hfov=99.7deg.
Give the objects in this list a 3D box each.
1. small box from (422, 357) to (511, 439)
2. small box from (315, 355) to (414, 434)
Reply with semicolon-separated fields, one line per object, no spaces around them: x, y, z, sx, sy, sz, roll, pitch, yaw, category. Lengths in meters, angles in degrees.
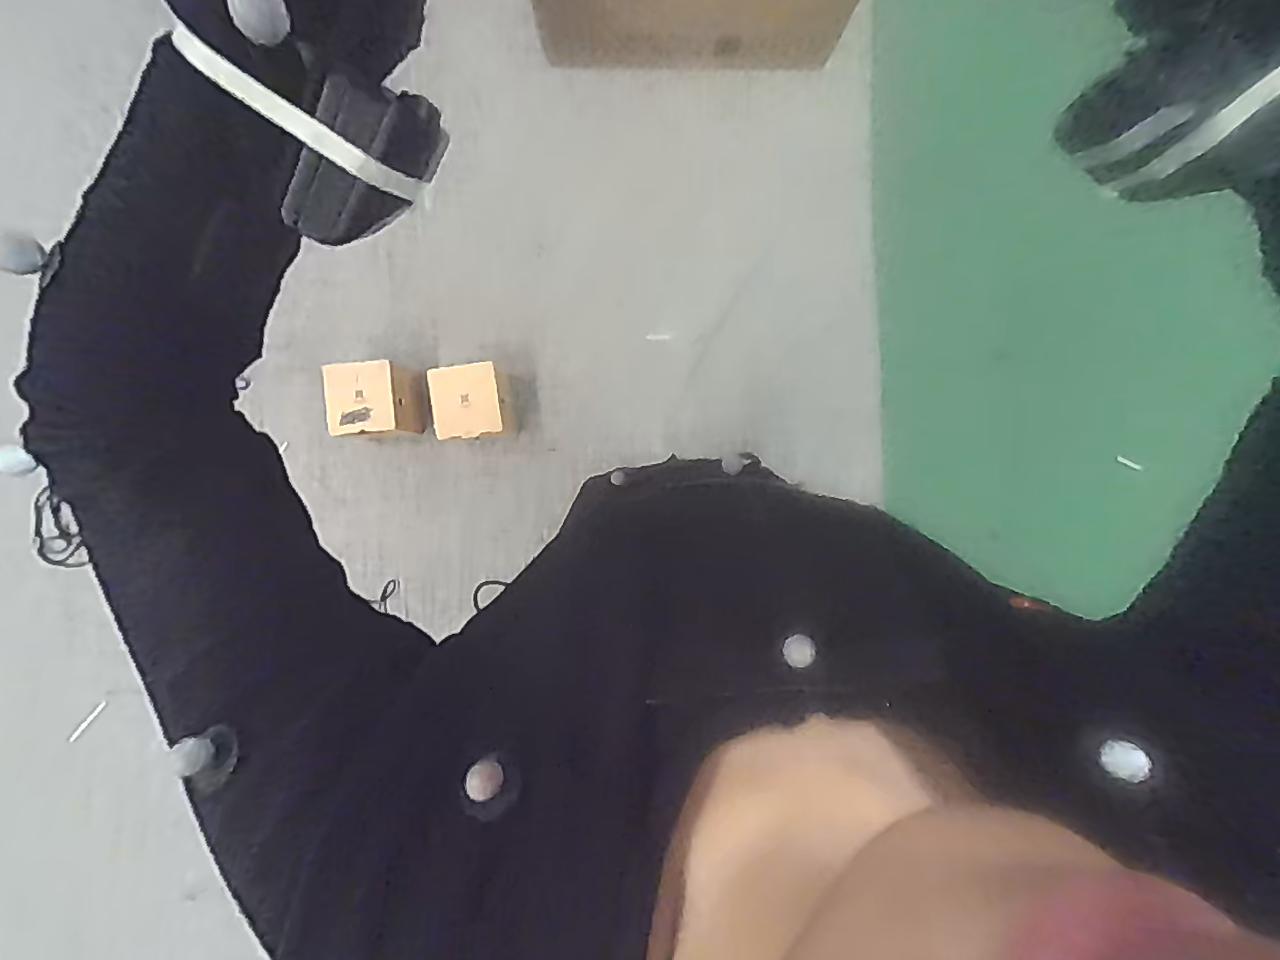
-0.438;-0.204;1.386;0.168;0.176;0.179;-8;92;-1;small box
-0.693;-0.209;1.377;0.168;0.176;0.179;-5;90;-1;small box
